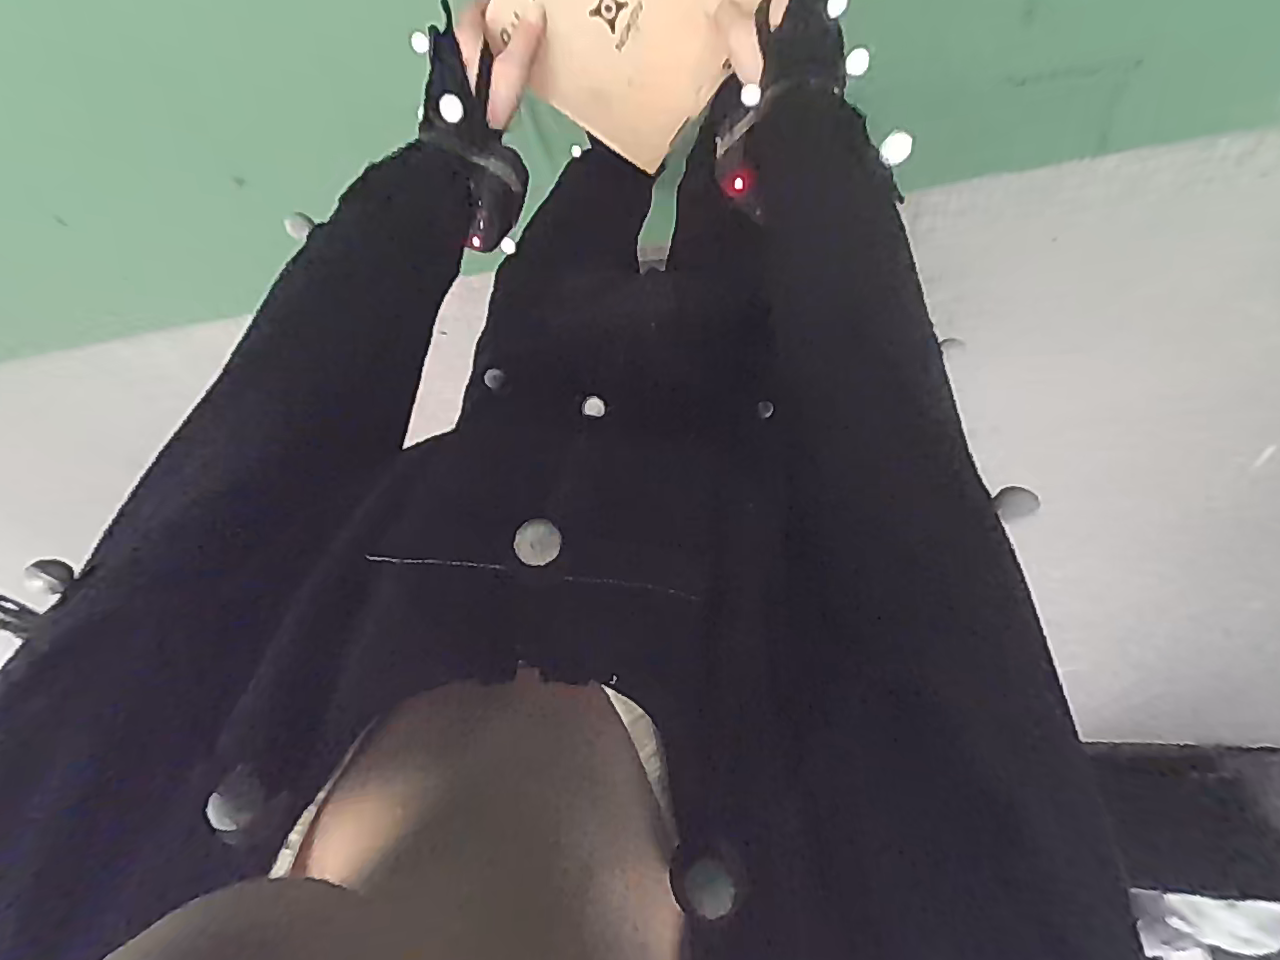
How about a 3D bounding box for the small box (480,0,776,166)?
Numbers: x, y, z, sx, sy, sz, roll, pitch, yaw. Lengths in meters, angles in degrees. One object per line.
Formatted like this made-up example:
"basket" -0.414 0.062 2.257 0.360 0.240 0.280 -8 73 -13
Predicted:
"small box" -0.005 -0.421 0.452 0.179 0.176 0.168 24 142 -25
